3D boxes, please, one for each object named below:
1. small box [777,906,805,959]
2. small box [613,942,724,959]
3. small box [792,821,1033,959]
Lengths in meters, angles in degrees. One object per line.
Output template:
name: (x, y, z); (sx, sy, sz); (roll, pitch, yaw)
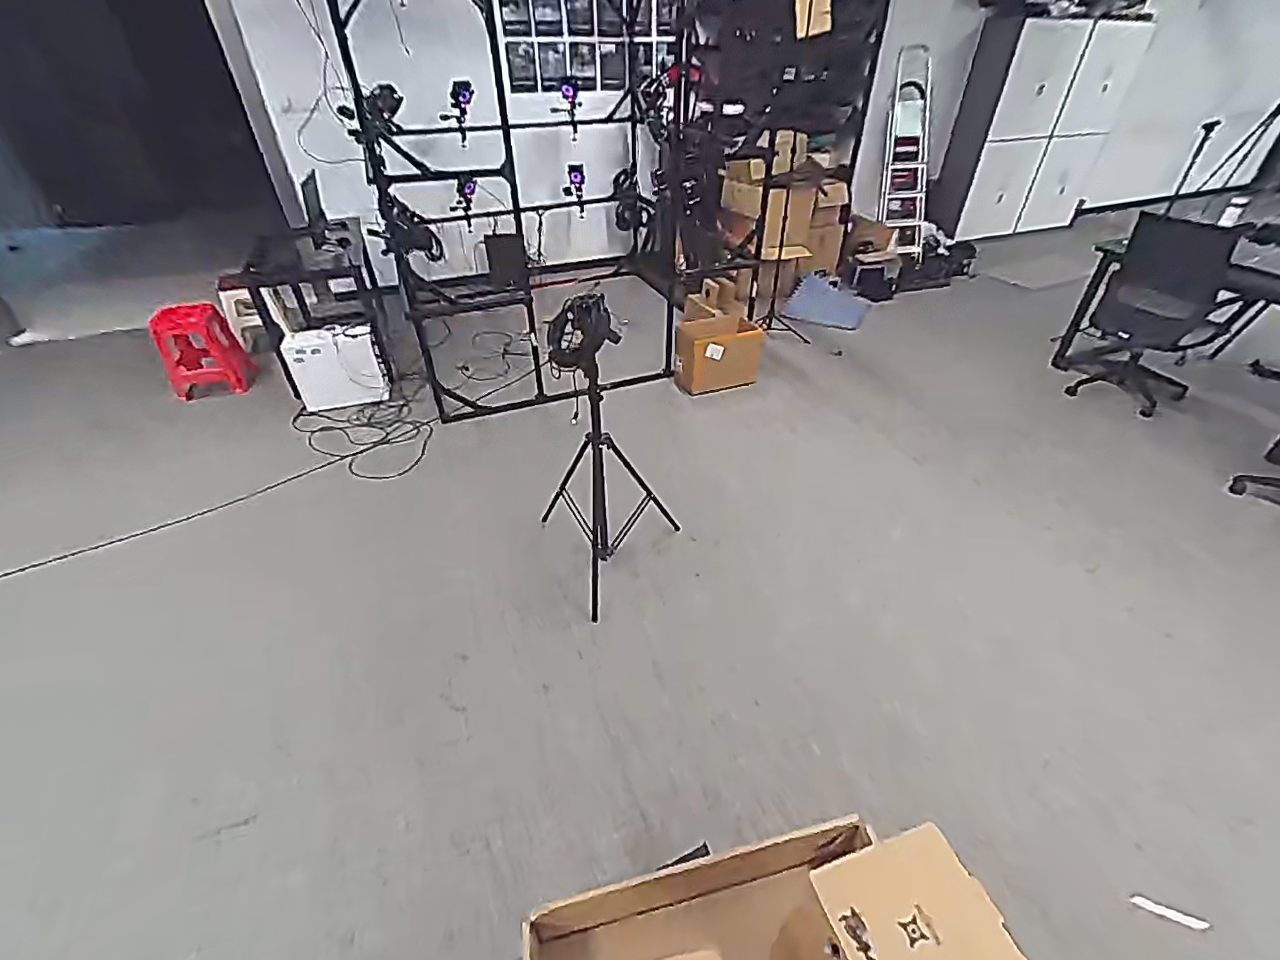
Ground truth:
small box: (0.296, 0.660, 0.702); (0.168, 0.176, 0.179); (-10, 37, -12)
small box: (0.009, 0.621, 0.578); (0.179, 0.176, 0.168); (-4, 52, -12)
small box: (0.294, 0.527, 0.606); (0.179, 0.176, 0.168); (-11, 37, -13)
